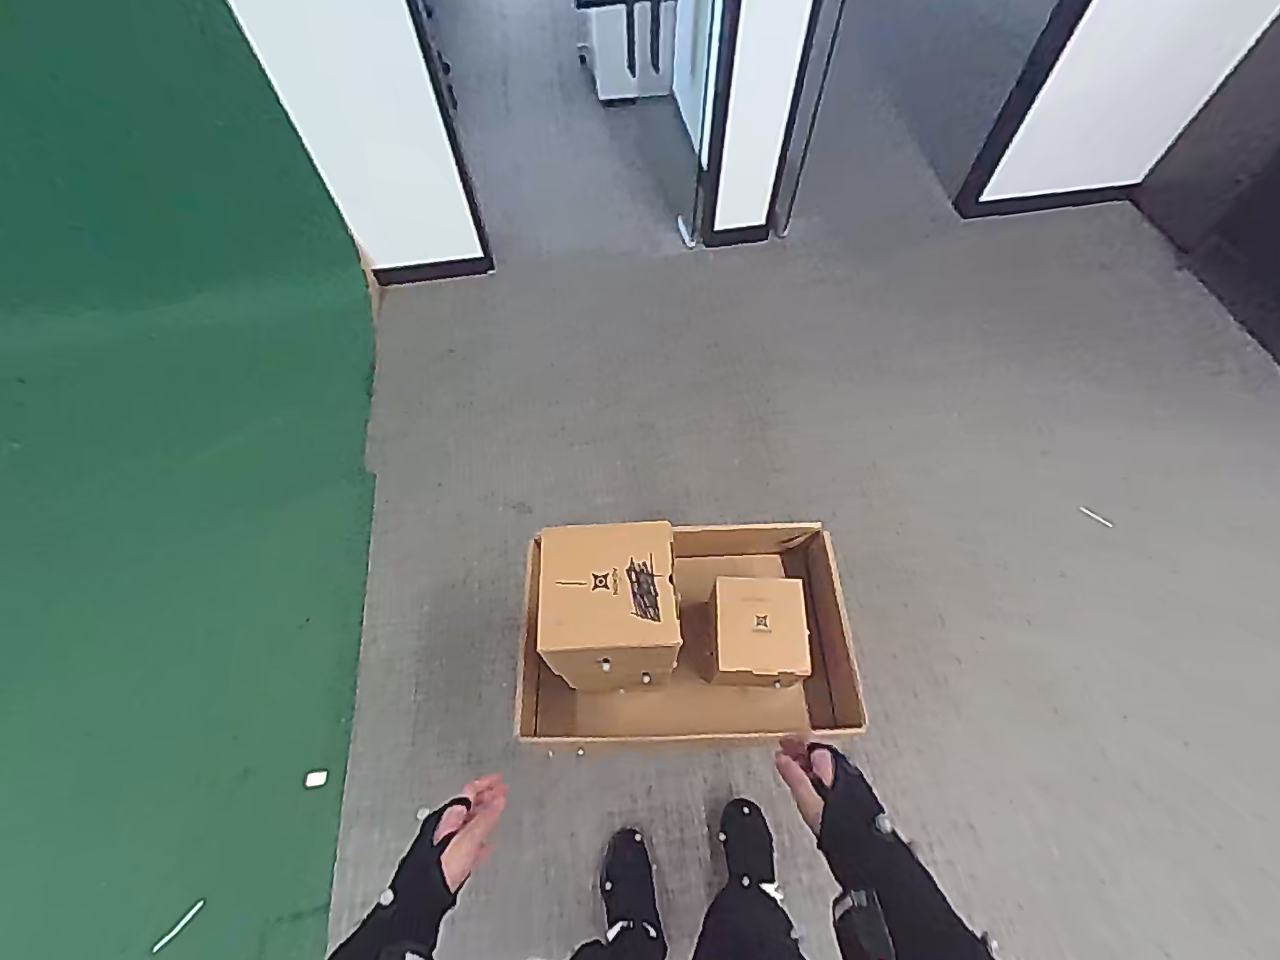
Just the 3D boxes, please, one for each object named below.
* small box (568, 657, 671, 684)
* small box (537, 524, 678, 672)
[{"bbox_3d":[-0.037,0.247,0.915,0.179,0.176,0.168,-1,62,0],"label":"small box"},{"bbox_3d":[-0.042,0.172,0.768,0.179,0.176,0.168,-3,61,0],"label":"small box"}]
